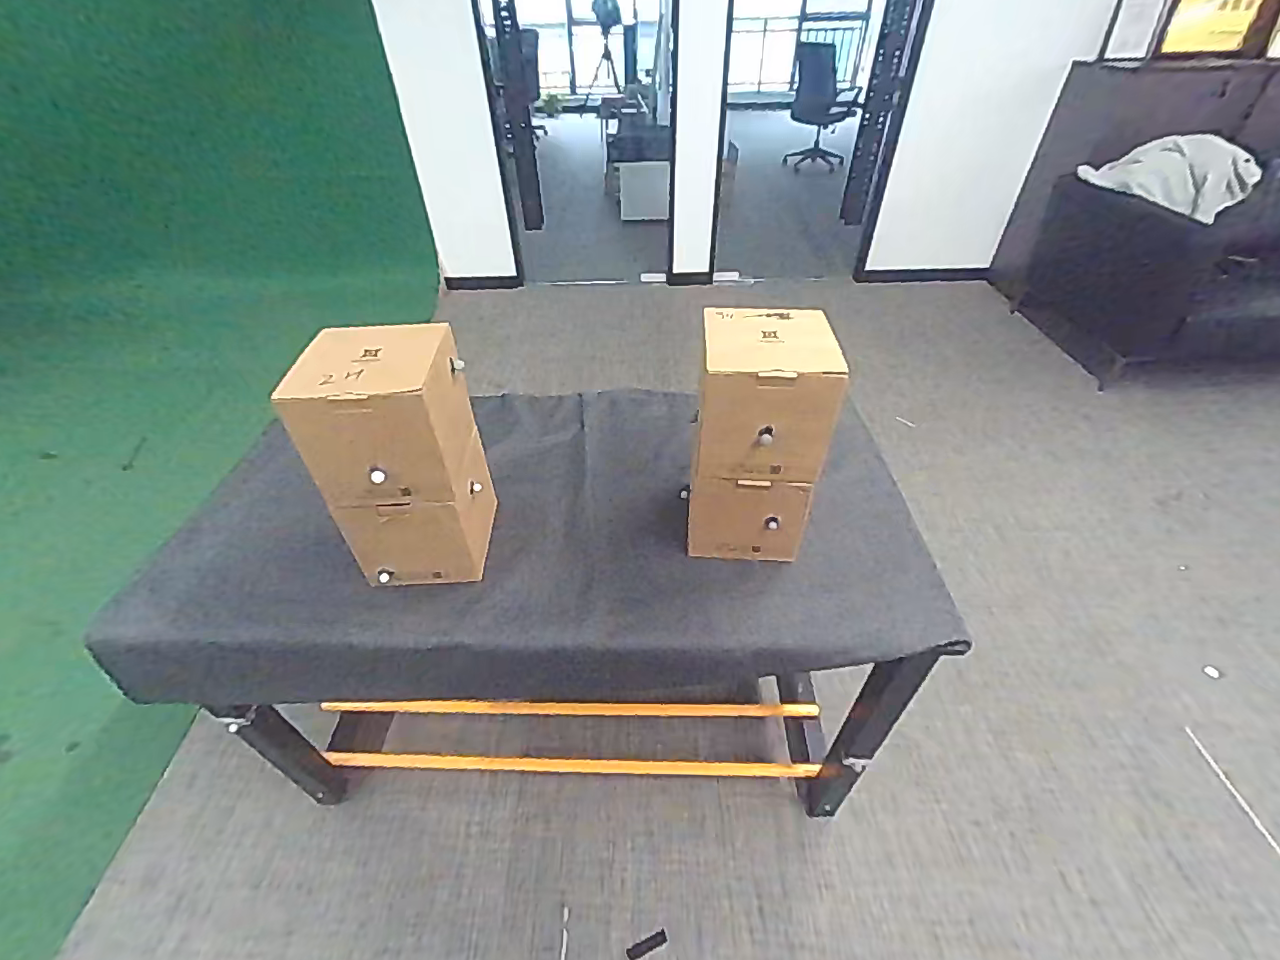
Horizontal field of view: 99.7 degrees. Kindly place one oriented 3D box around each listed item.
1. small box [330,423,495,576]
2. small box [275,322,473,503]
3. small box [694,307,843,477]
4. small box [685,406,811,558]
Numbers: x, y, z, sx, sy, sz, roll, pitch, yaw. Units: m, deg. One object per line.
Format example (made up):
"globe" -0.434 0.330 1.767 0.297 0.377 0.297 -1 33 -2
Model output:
"small box" -0.326 0.034 0.820 0.168 0.176 0.179 -2 41 -2
"small box" -0.327 -0.091 0.711 0.168 0.176 0.179 -4 42 -3
"small box" 0.162 -0.120 0.739 0.168 0.176 0.179 3 42 3
"small box" 0.160 0.003 0.848 0.168 0.176 0.179 4 41 4
